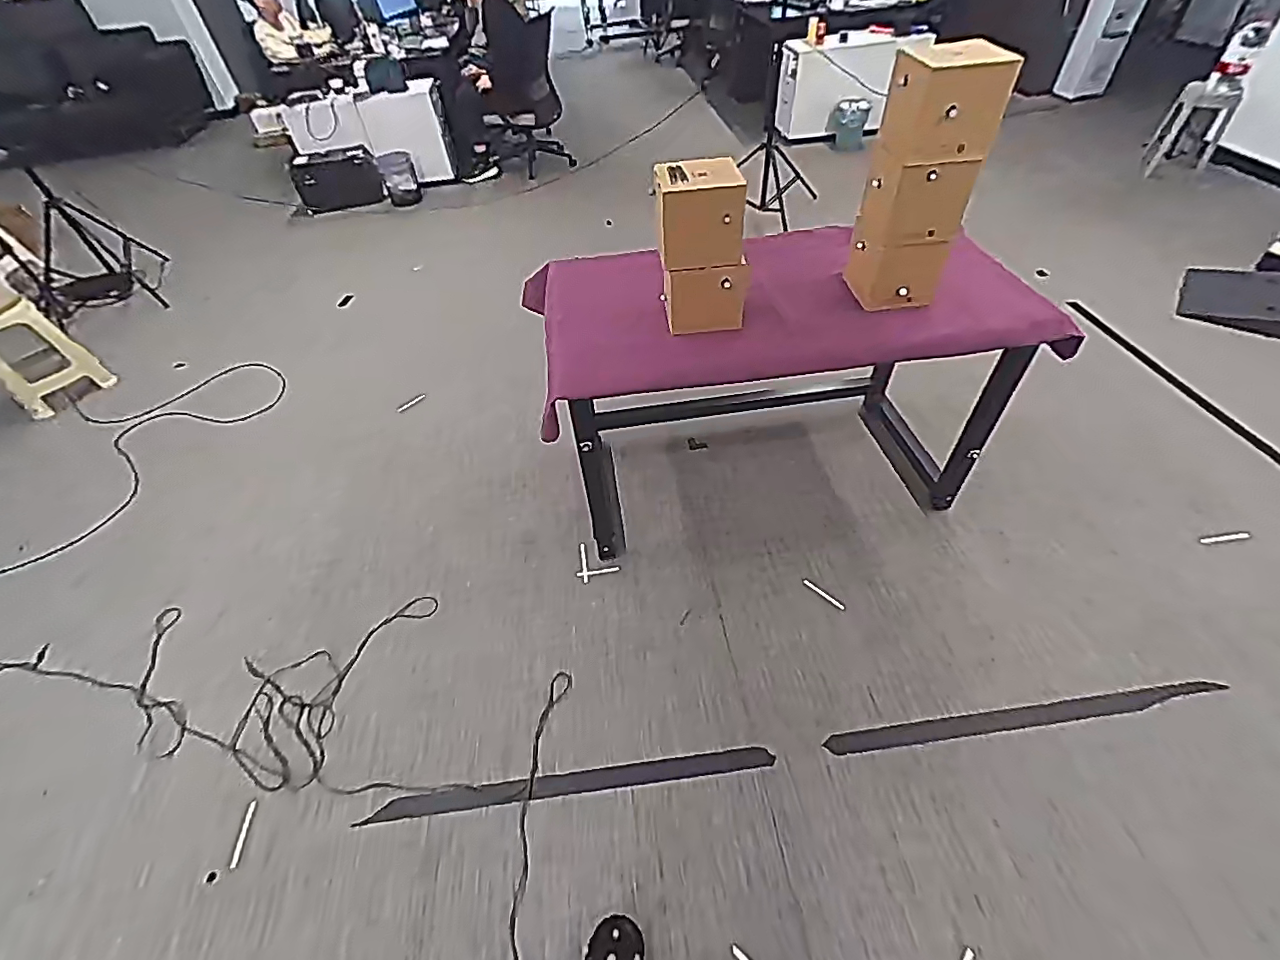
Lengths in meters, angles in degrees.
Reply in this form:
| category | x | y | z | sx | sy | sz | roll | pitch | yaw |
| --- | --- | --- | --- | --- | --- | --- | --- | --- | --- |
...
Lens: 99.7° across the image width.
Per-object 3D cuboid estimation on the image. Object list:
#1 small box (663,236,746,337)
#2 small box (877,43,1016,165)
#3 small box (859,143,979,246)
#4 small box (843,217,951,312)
| category | x | y | z | sx | sy | sz | roll | pitch | yaw |
| --- | --- | --- | --- | --- | --- | --- | --- | --- | --- |
| small box | 0.151 | -0.469 | 1.318 | 0.179 | 0.176 | 0.168 | -6 | 47 | 0 |
| small box | 0.601 | -0.750 | 1.089 | 0.168 | 0.176 | 0.179 | -5 | 47 | 1 |
| small box | 0.612 | -0.645 | 1.214 | 0.168 | 0.176 | 0.179 | -5 | 47 | 2 |
| small box | 0.622 | -0.539 | 1.338 | 0.168 | 0.176 | 0.179 | -7 | 48 | 0 |
